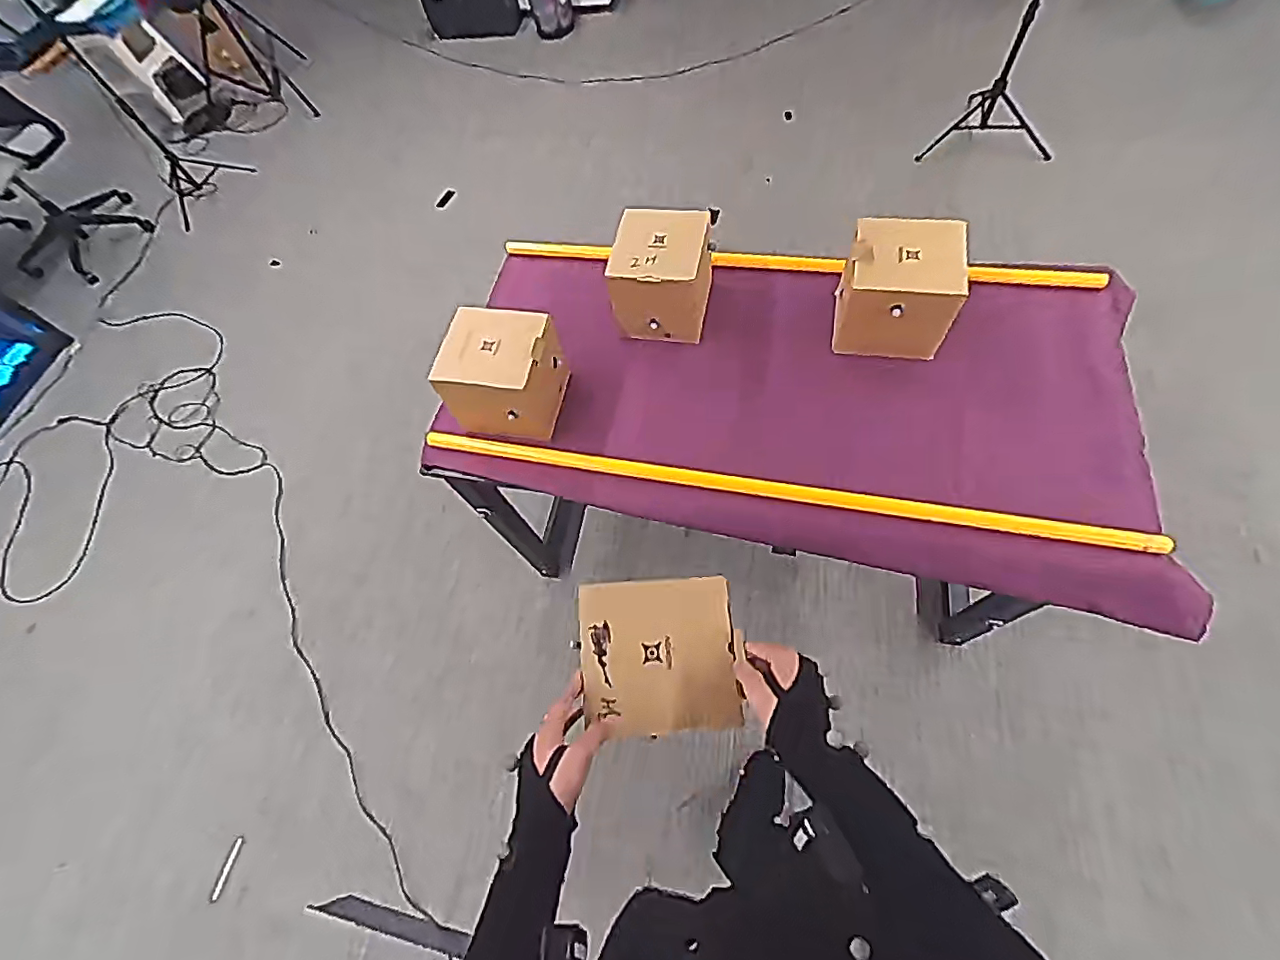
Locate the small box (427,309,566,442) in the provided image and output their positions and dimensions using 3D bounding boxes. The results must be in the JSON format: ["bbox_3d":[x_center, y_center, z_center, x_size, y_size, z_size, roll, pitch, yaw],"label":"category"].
[{"bbox_3d":[-0.249,-0.185,0.991,0.179,0.176,0.168,8,64,10],"label":"small box"}]

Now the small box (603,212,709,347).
[{"bbox_3d":[0.040,-0.387,1.052,0.168,0.176,0.179,8,67,13],"label":"small box"}]

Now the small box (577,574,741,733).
[{"bbox_3d":[0.012,0.214,0.679,0.179,0.176,0.168,-2,71,-7],"label":"small box"}]

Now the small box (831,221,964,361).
[{"bbox_3d":[0.450,-0.331,0.963,0.179,0.176,0.168,8,66,13],"label":"small box"}]
